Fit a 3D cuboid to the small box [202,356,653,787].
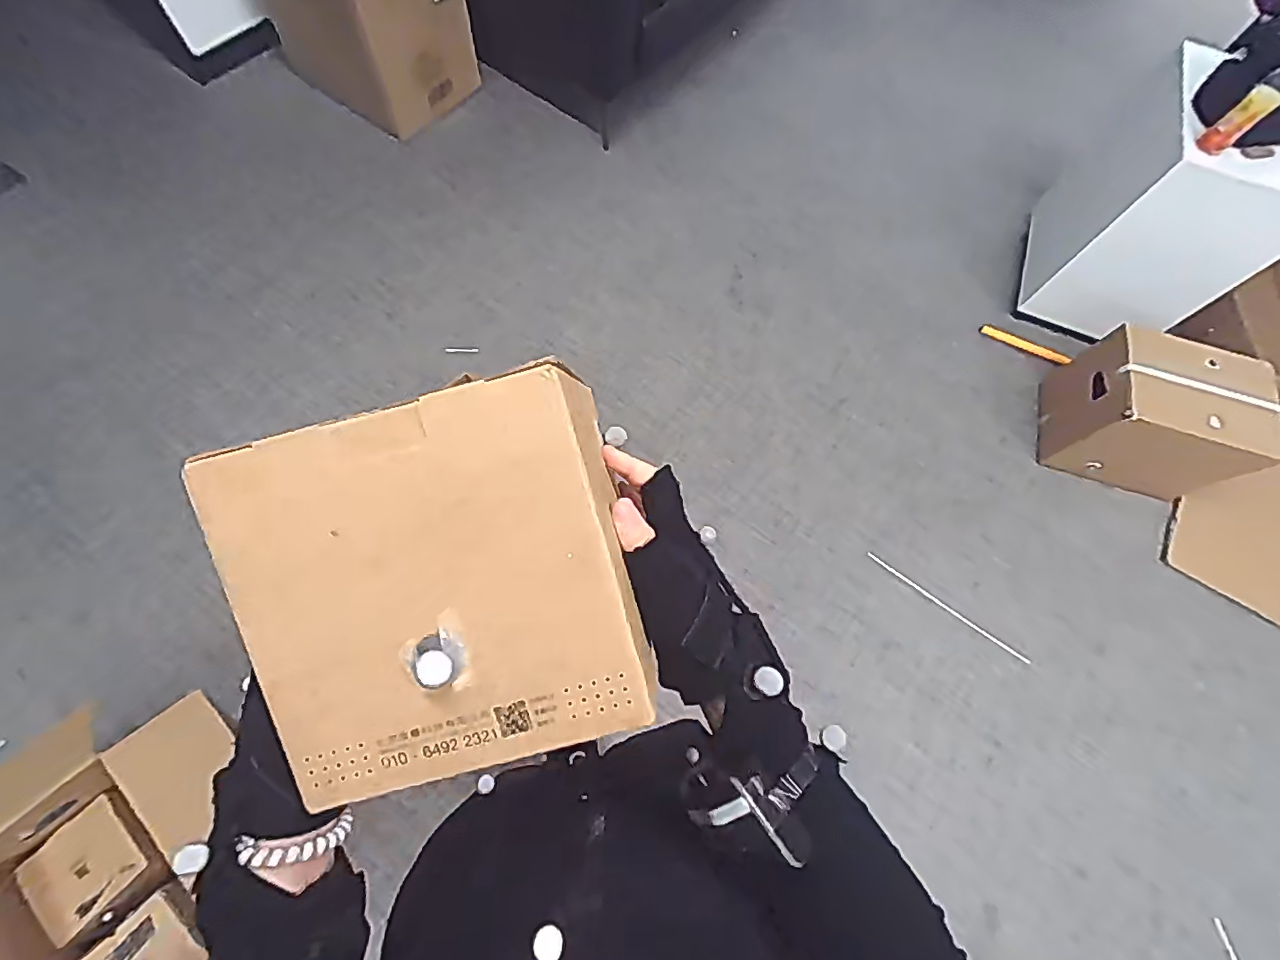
[{"bbox_3d":[-0.092,0.038,0.320,0.168,0.179,0.176,-15,97,1],"label":"small box"}]
